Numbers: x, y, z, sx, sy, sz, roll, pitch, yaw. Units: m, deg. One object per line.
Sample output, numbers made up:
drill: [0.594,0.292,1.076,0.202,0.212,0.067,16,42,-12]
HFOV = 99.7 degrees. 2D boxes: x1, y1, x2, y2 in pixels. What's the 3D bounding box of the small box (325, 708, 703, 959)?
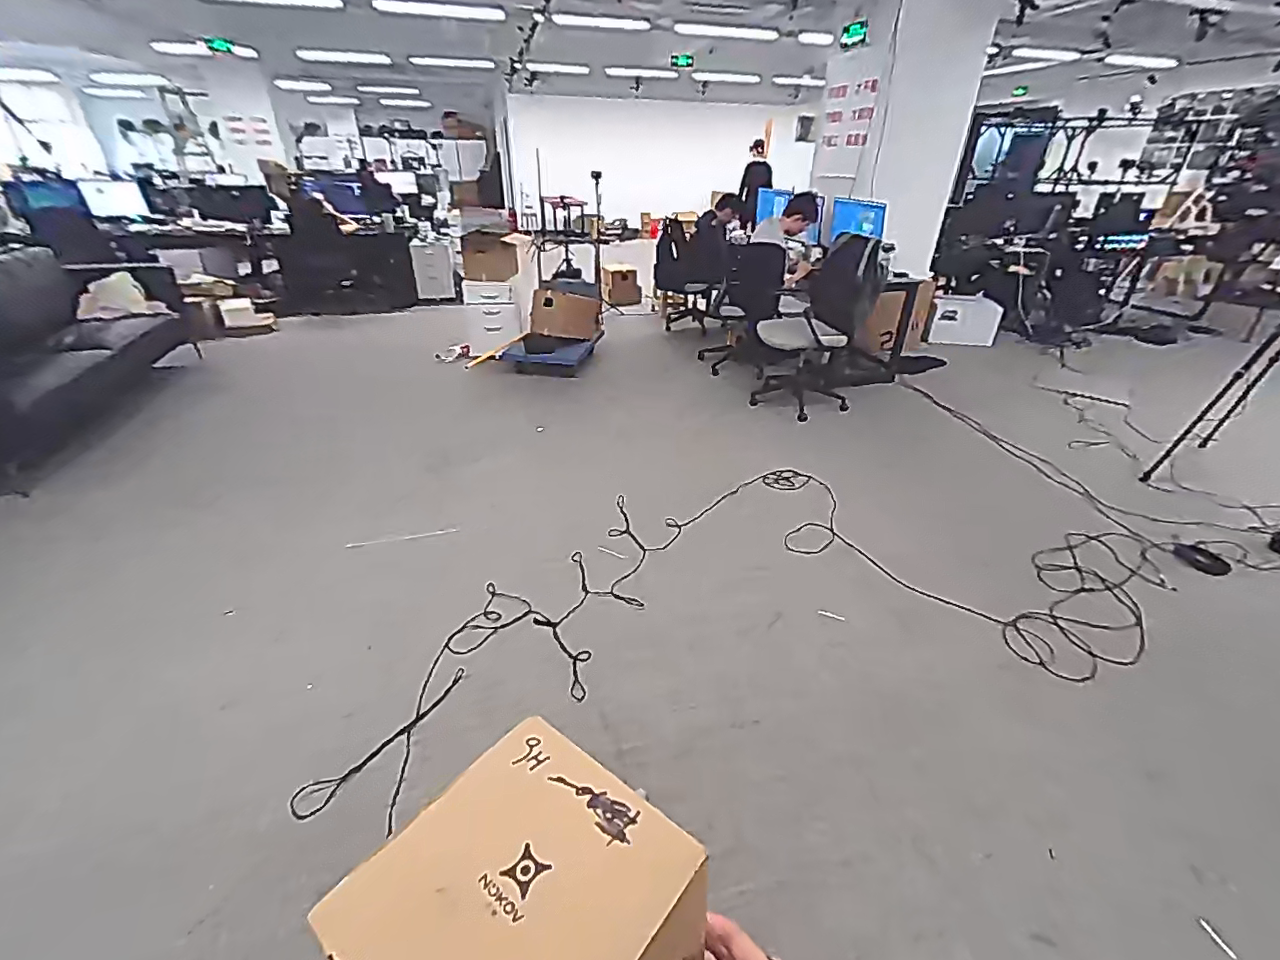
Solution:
small box: [-0.069,0.309,0.370,0.168,0.176,0.179,20,36,35]
